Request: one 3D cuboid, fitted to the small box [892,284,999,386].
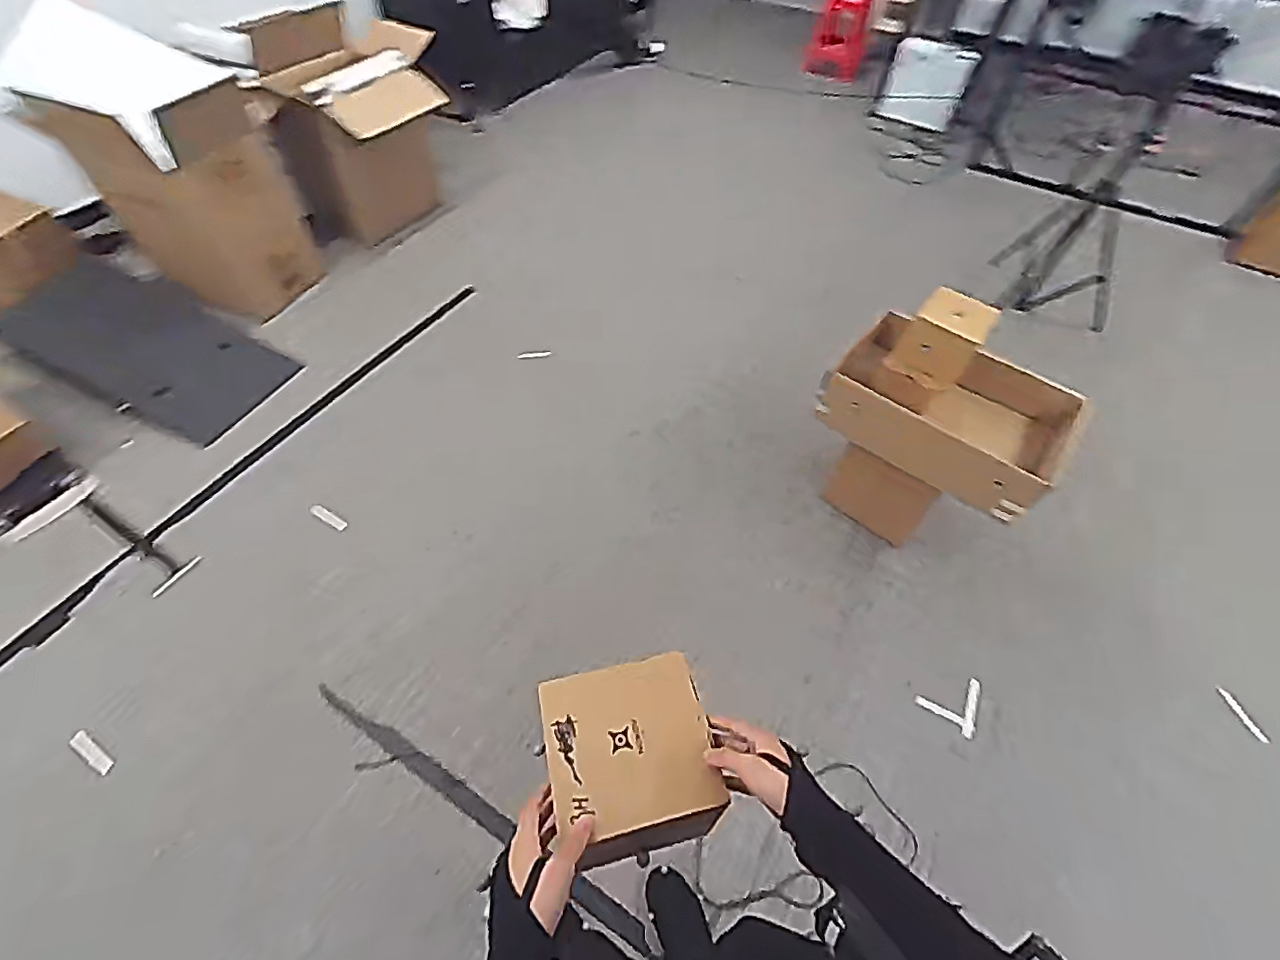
[{"bbox_3d":[0.803,-0.382,1.438,0.168,0.176,0.179,34,59,19],"label":"small box"}]

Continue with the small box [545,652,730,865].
[{"bbox_3d":[-0.014,0.328,0.637,0.179,0.176,0.168,-7,48,-11],"label":"small box"}]

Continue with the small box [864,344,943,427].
[{"bbox_3d":[0.780,-0.287,1.569,0.168,0.176,0.179,38,60,21],"label":"small box"}]
